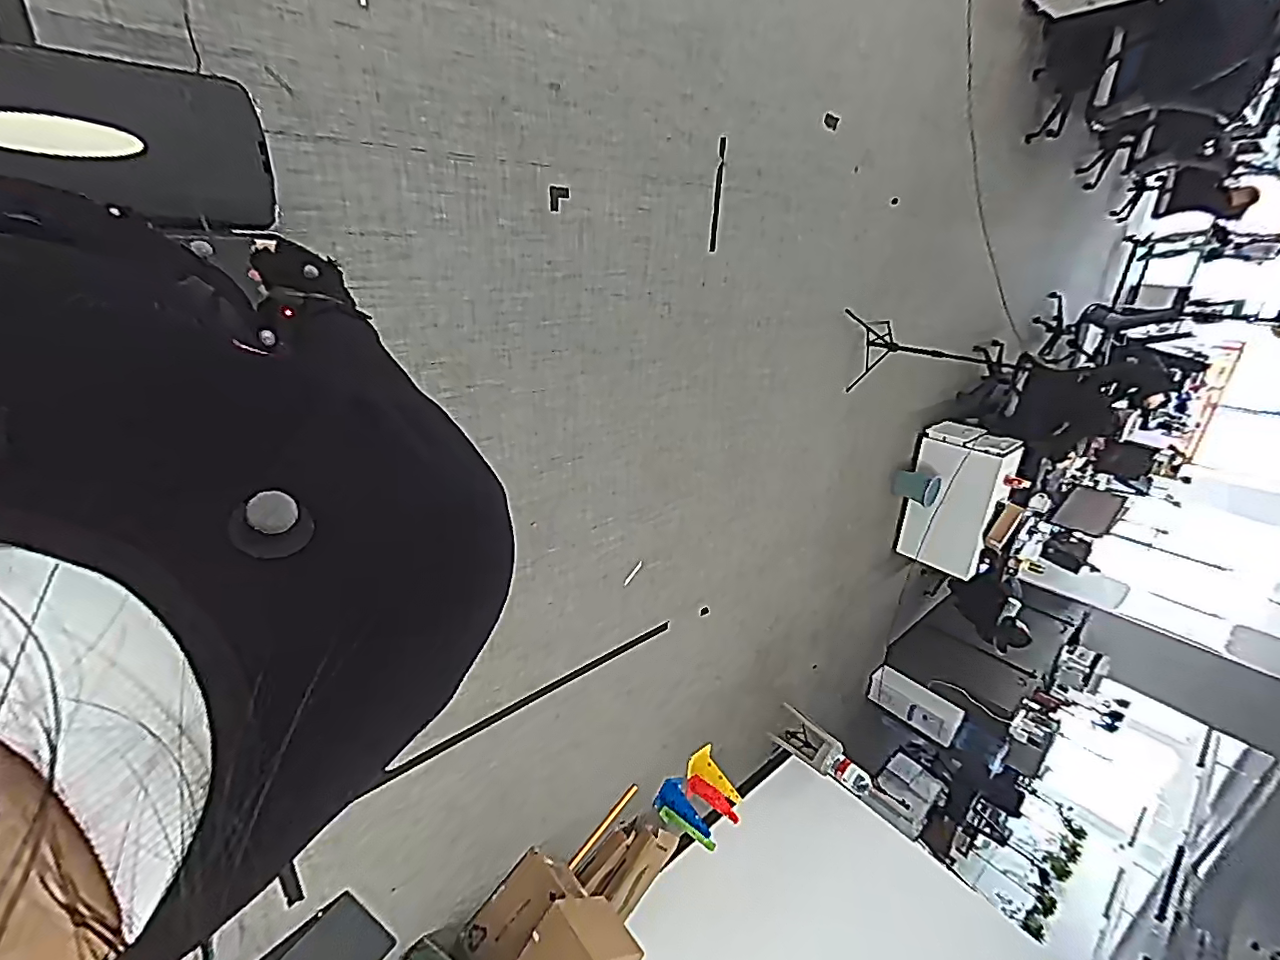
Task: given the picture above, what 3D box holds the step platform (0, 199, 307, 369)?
[{"bbox_3d":[-1.058,-0.388,1.067,0.684,0.204,0.286,-17,119,-36],"label":"step platform"}]
